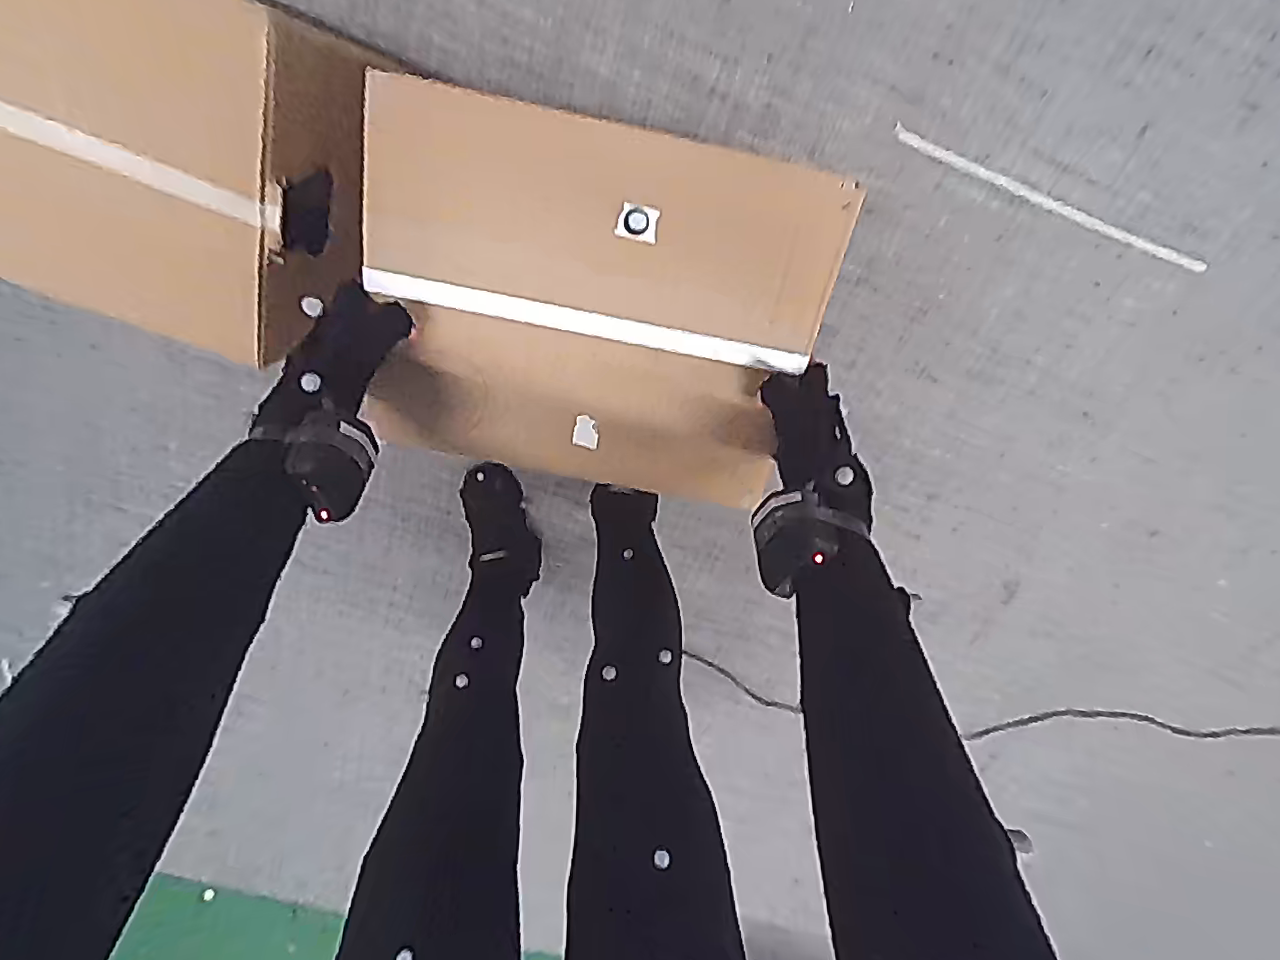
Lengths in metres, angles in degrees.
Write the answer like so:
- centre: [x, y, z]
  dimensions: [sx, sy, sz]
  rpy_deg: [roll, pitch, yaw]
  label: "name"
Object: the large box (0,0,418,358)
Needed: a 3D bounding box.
- centre: [-0.518, -0.384, 0.598]
  dimensions: [0.408, 0.320, 0.320]
  rpy_deg: [20, 118, -7]
  label: "large box"
